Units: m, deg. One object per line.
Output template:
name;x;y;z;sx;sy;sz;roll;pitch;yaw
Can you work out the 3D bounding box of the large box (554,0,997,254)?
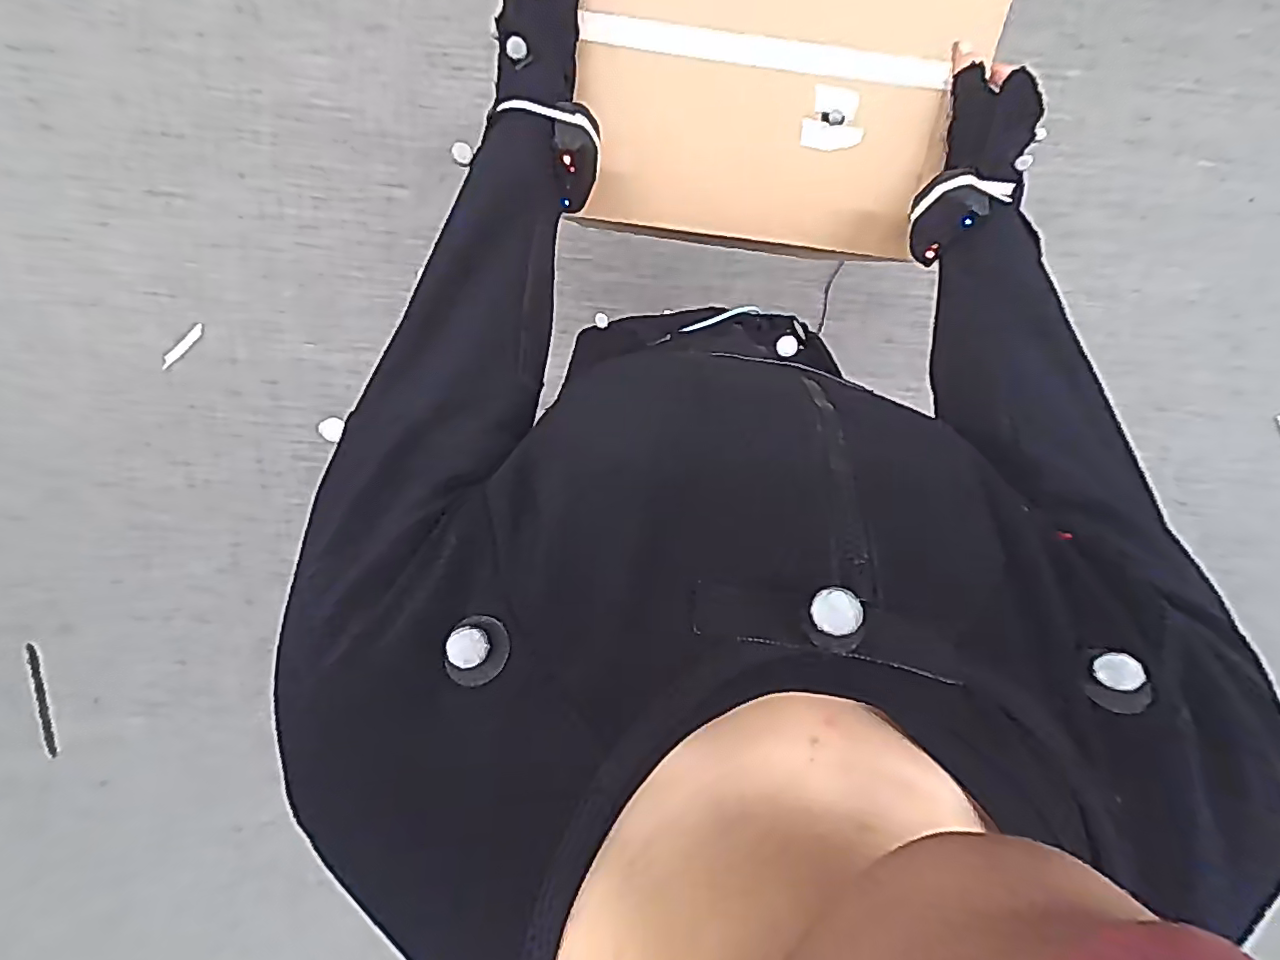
large box;0.119;-0.457;0.646;0.408;0.320;0.320;6;113;-3
